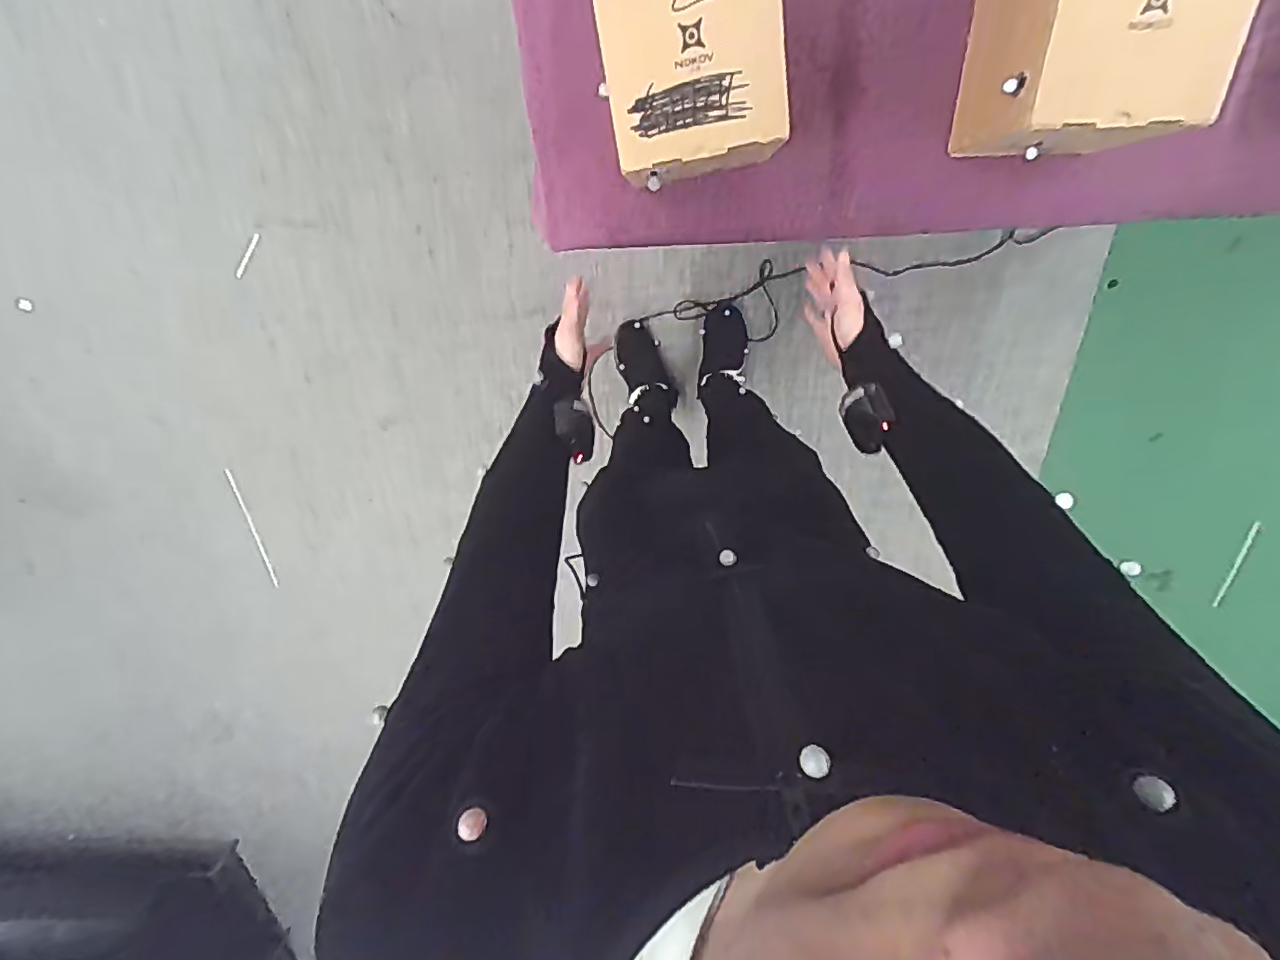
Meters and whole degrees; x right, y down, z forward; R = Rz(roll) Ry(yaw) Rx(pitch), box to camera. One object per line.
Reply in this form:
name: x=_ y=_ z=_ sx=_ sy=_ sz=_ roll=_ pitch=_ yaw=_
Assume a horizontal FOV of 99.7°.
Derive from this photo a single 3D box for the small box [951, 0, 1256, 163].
small box: x=0.445 y=-0.429 z=0.543 sx=0.168 sy=0.176 sz=0.179 roll=0 pitch=116 yaw=3
